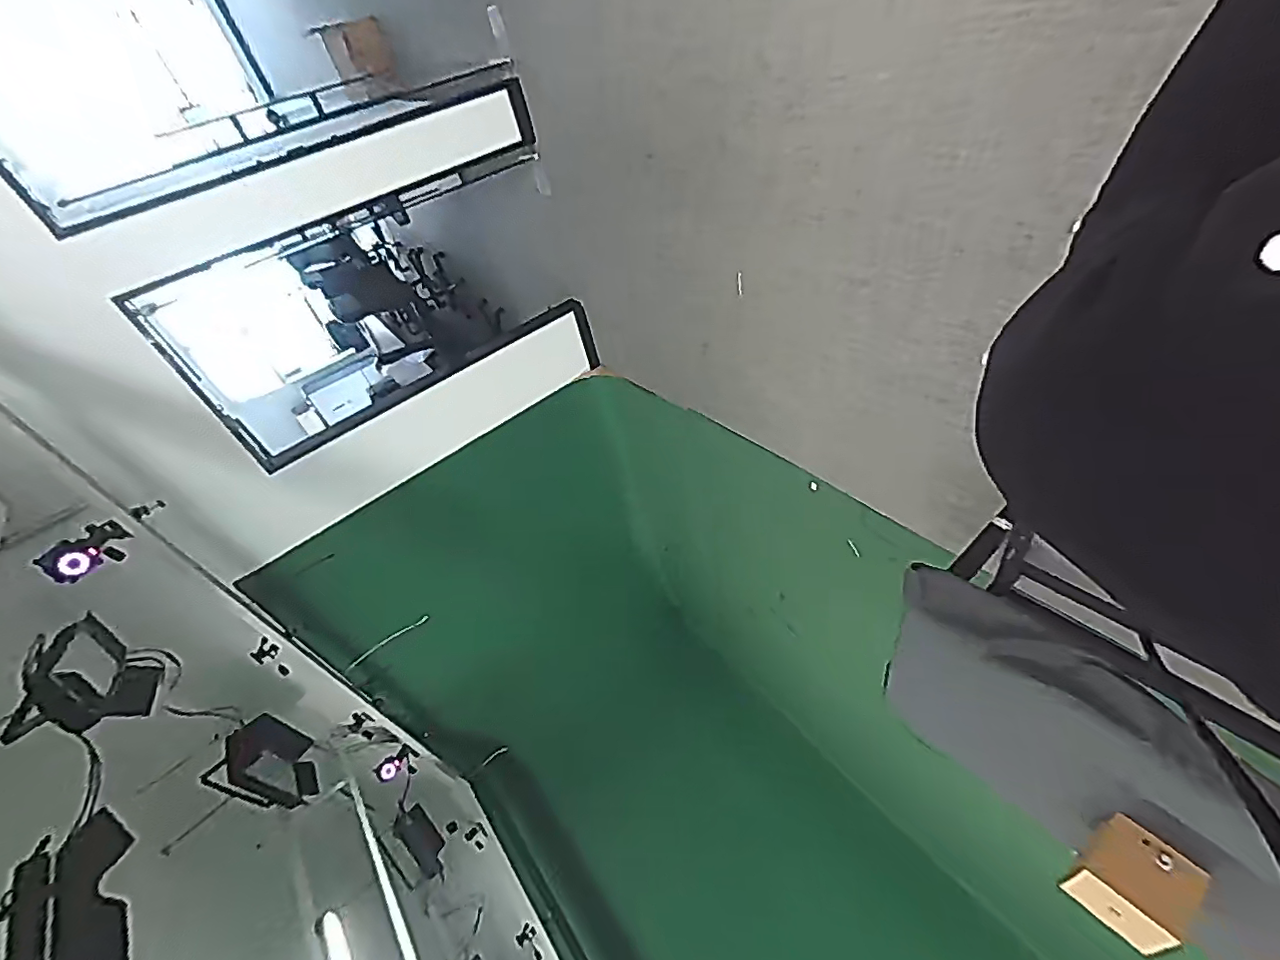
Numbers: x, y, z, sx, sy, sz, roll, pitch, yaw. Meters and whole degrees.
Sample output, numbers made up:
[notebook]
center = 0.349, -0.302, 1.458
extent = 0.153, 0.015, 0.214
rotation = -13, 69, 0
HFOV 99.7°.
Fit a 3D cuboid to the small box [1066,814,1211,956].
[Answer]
[small box]
center = 1.090, 0.884, 1.187
extent = 0.168, 0.176, 0.179
rotation = 33, 150, 41
